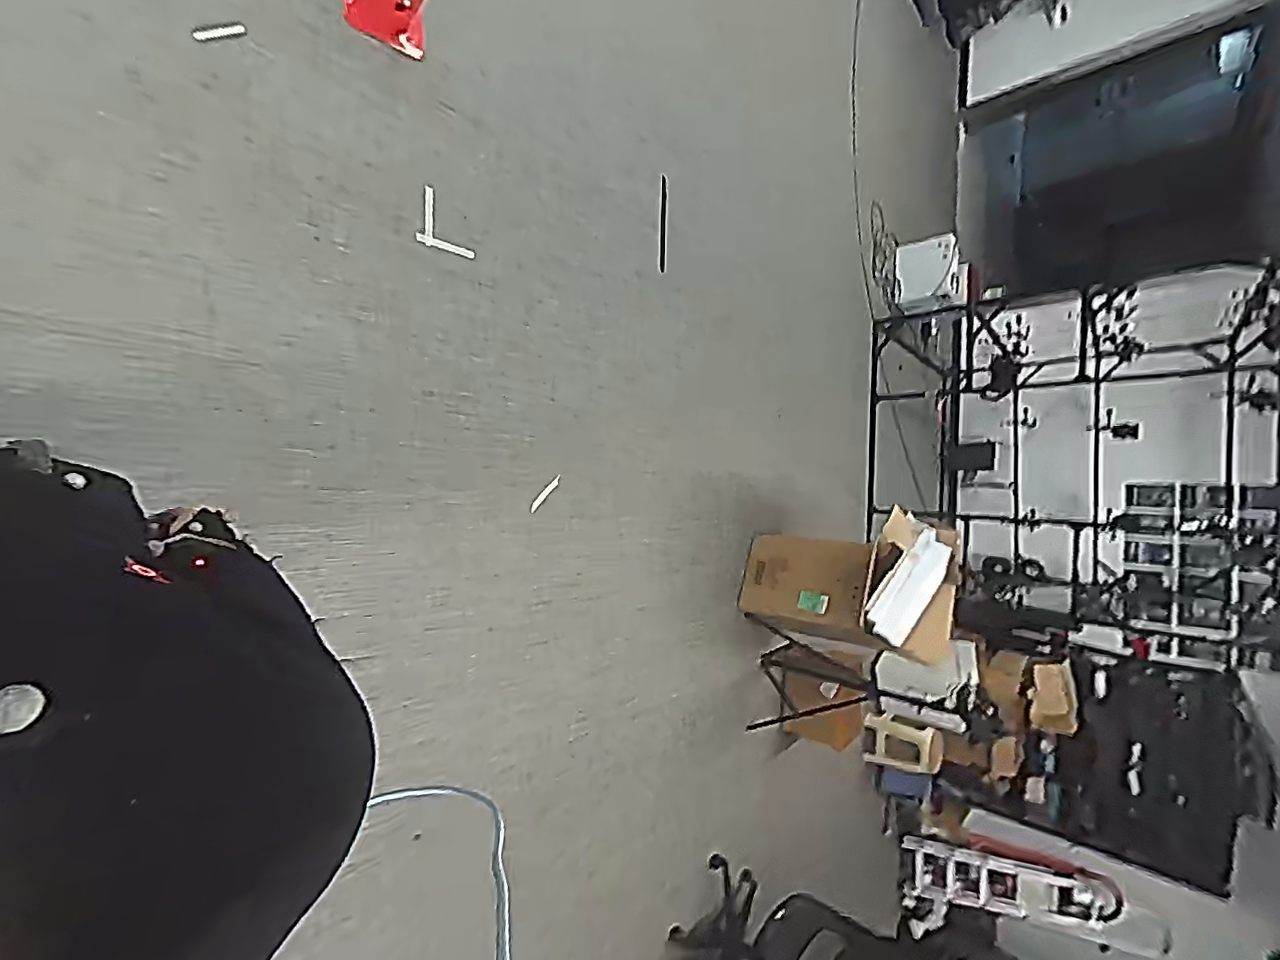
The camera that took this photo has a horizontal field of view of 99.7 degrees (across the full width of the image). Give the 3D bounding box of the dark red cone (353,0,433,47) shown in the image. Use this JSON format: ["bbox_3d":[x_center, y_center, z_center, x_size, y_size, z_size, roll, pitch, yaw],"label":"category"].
[{"bbox_3d":[-0.494,-1.205,1.226,0.201,0.394,0.202,-7,96,-47],"label":"dark red cone"}]
